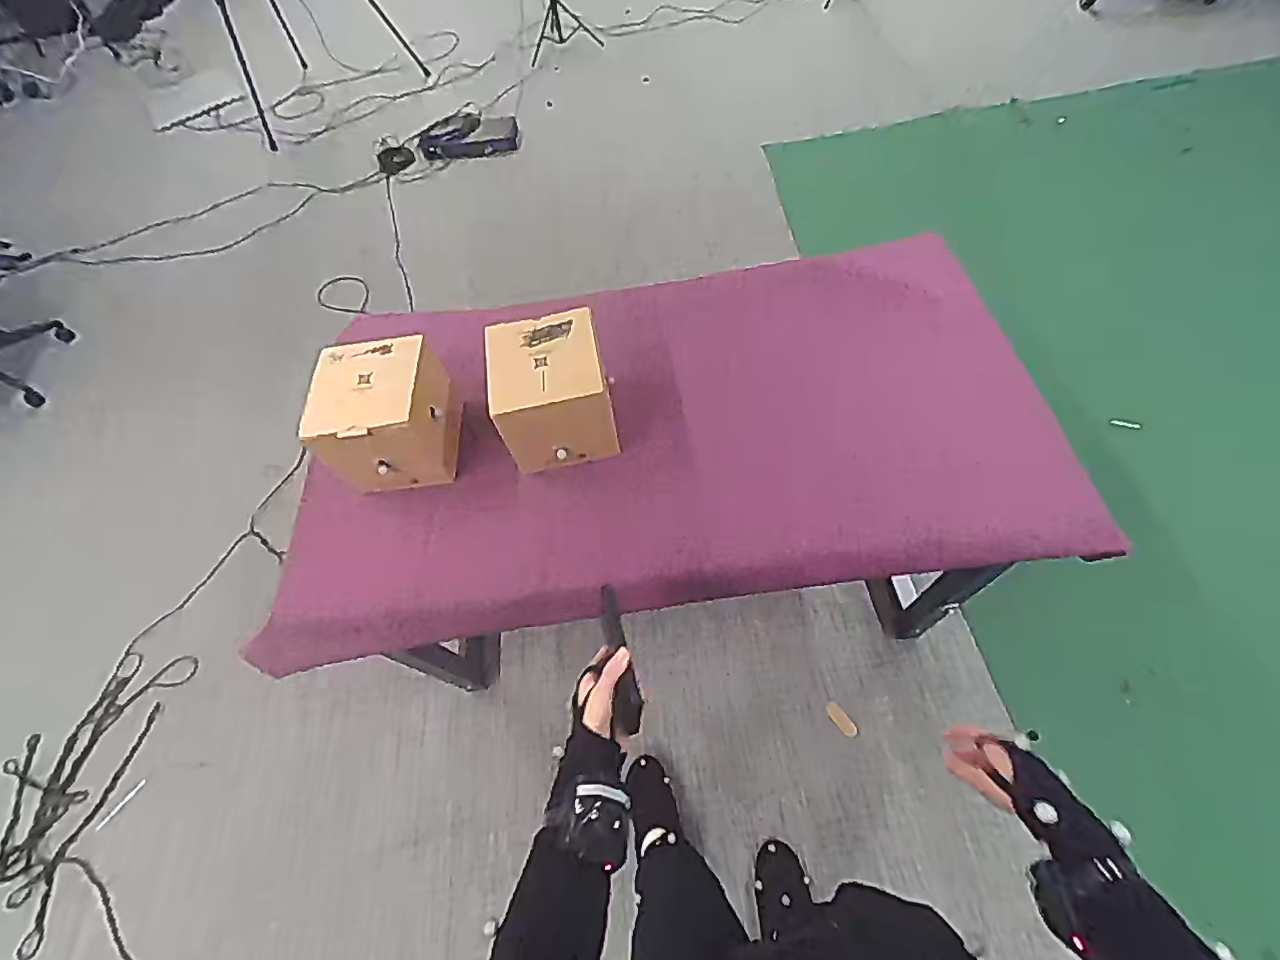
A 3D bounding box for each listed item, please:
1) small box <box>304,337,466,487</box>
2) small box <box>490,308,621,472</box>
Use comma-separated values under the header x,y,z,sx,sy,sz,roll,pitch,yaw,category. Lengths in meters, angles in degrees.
x,y,z,sx,sy,sz,roll,pitch,yaw,category
-0.397,-0.100,0.876,0.168,0.176,0.179,-7,60,4,small box
-0.131,-0.138,0.862,0.168,0.176,0.179,-12,60,1,small box
